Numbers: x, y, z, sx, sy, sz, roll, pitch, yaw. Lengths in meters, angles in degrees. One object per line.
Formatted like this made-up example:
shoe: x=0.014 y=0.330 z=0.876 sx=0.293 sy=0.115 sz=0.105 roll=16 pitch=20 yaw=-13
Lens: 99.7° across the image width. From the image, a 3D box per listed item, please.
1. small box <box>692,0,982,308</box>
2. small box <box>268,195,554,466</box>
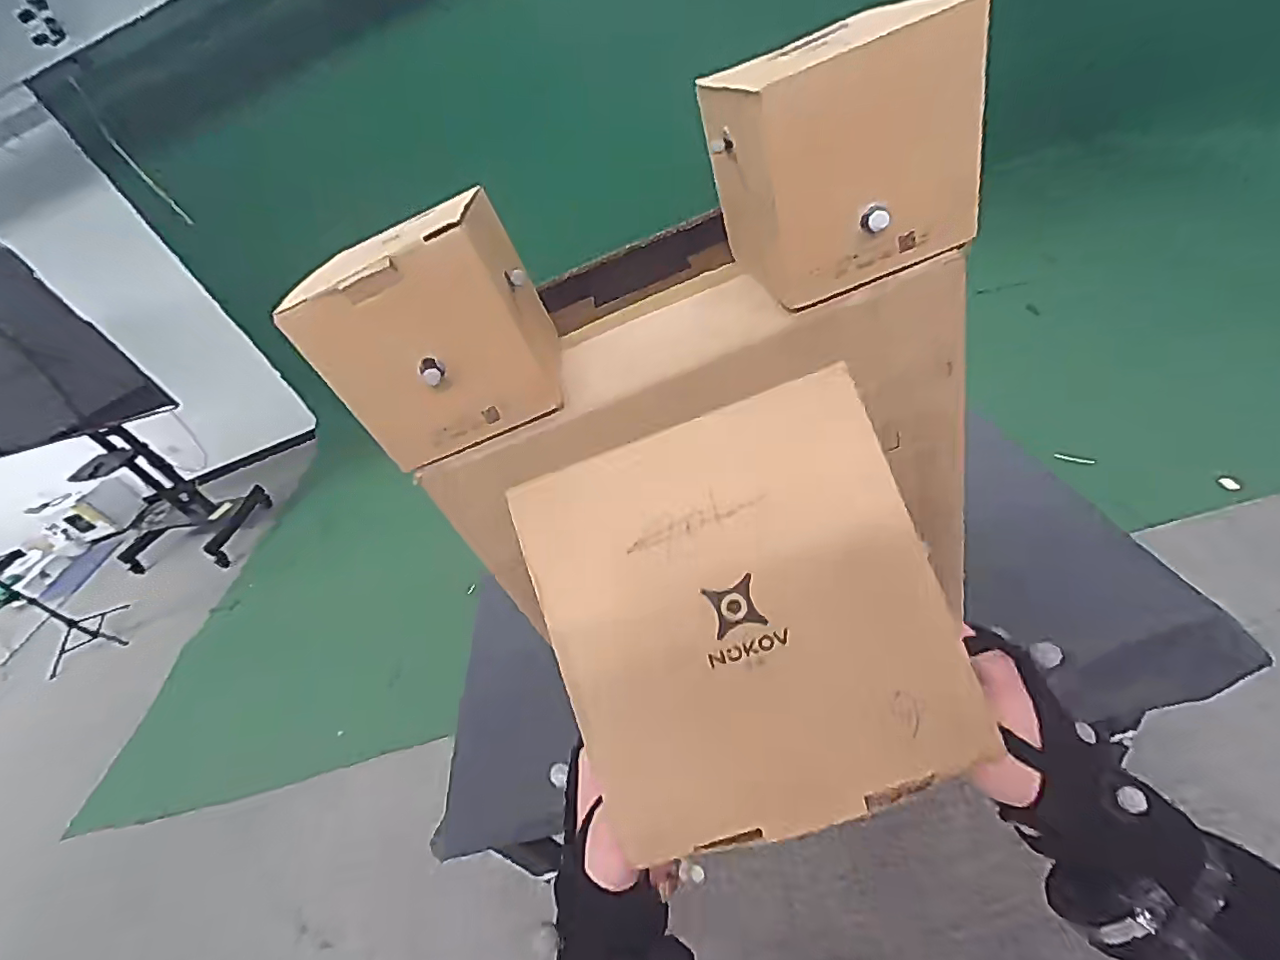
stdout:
small box: x=0.159 y=-0.275 z=0.470 sx=0.168 sy=0.176 sz=0.179 roll=-21 pitch=38 yaw=5
small box: x=-0.191 y=-0.134 z=0.513 sx=0.168 sy=0.176 sz=0.179 roll=-22 pitch=37 yaw=7
